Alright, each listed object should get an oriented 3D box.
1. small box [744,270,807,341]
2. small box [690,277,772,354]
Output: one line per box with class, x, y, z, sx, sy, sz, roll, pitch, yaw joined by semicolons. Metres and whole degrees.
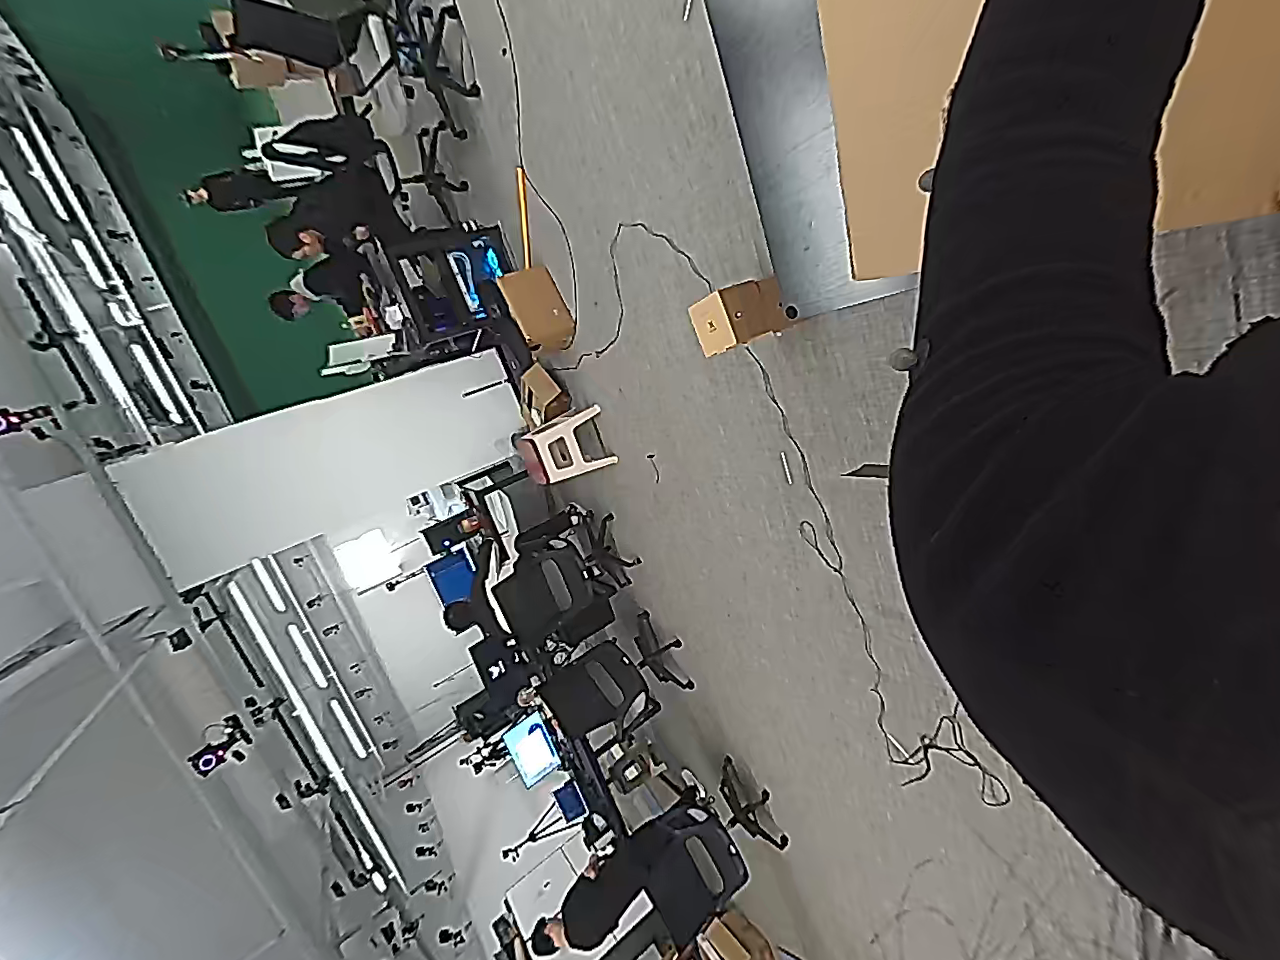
small box;0.431;-0.590;1.820;0.168;0.176;0.179;-1;113;61
small box;0.298;-0.532;1.746;0.168;0.176;0.179;-8;105;61
